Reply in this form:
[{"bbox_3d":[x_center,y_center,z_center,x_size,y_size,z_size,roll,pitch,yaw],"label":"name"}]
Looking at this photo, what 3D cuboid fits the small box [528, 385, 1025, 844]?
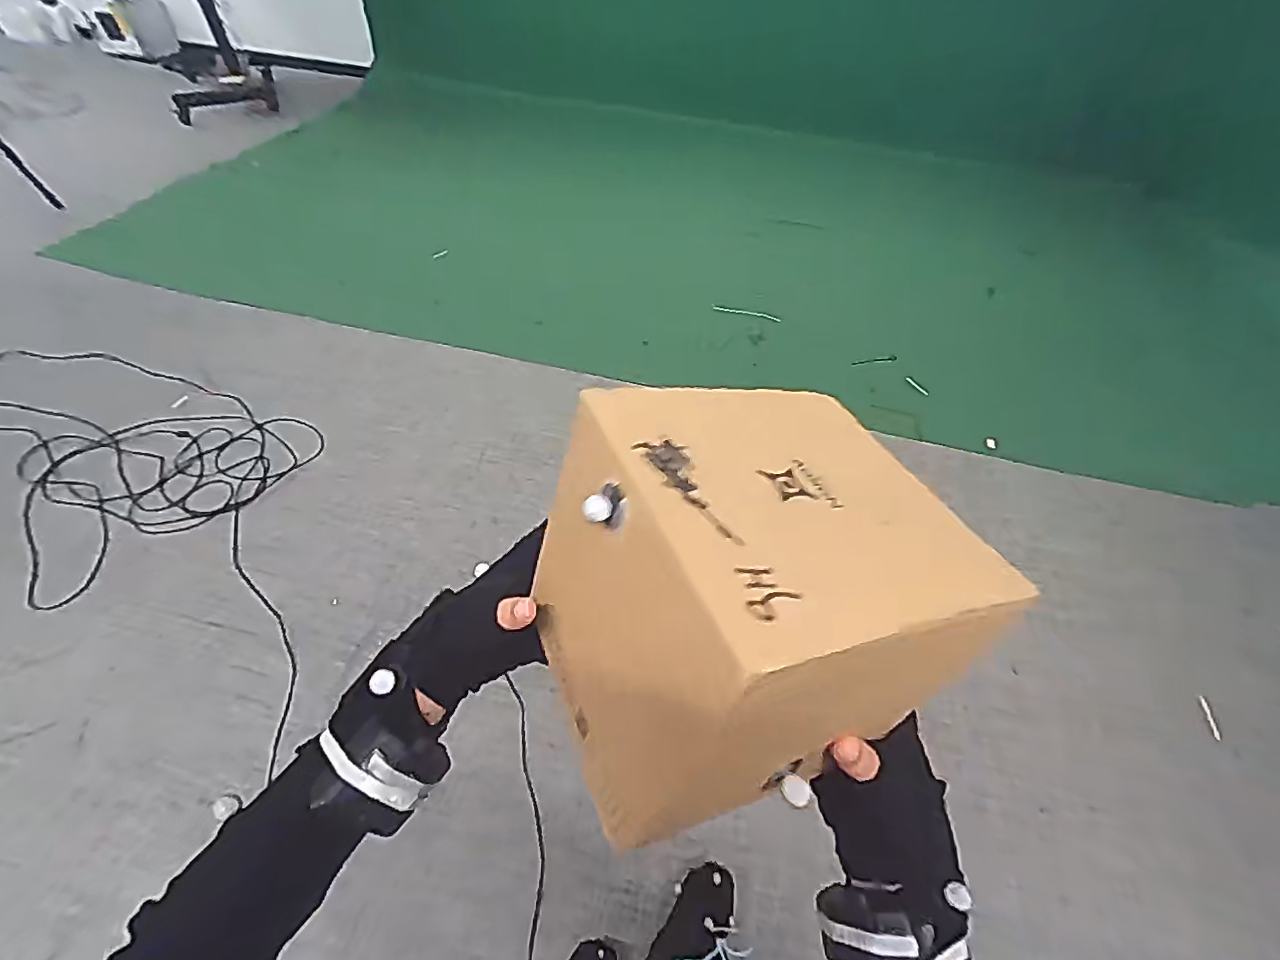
[{"bbox_3d":[0.051,0.065,0.307,0.179,0.176,0.168,-3,42,-29],"label":"small box"}]
